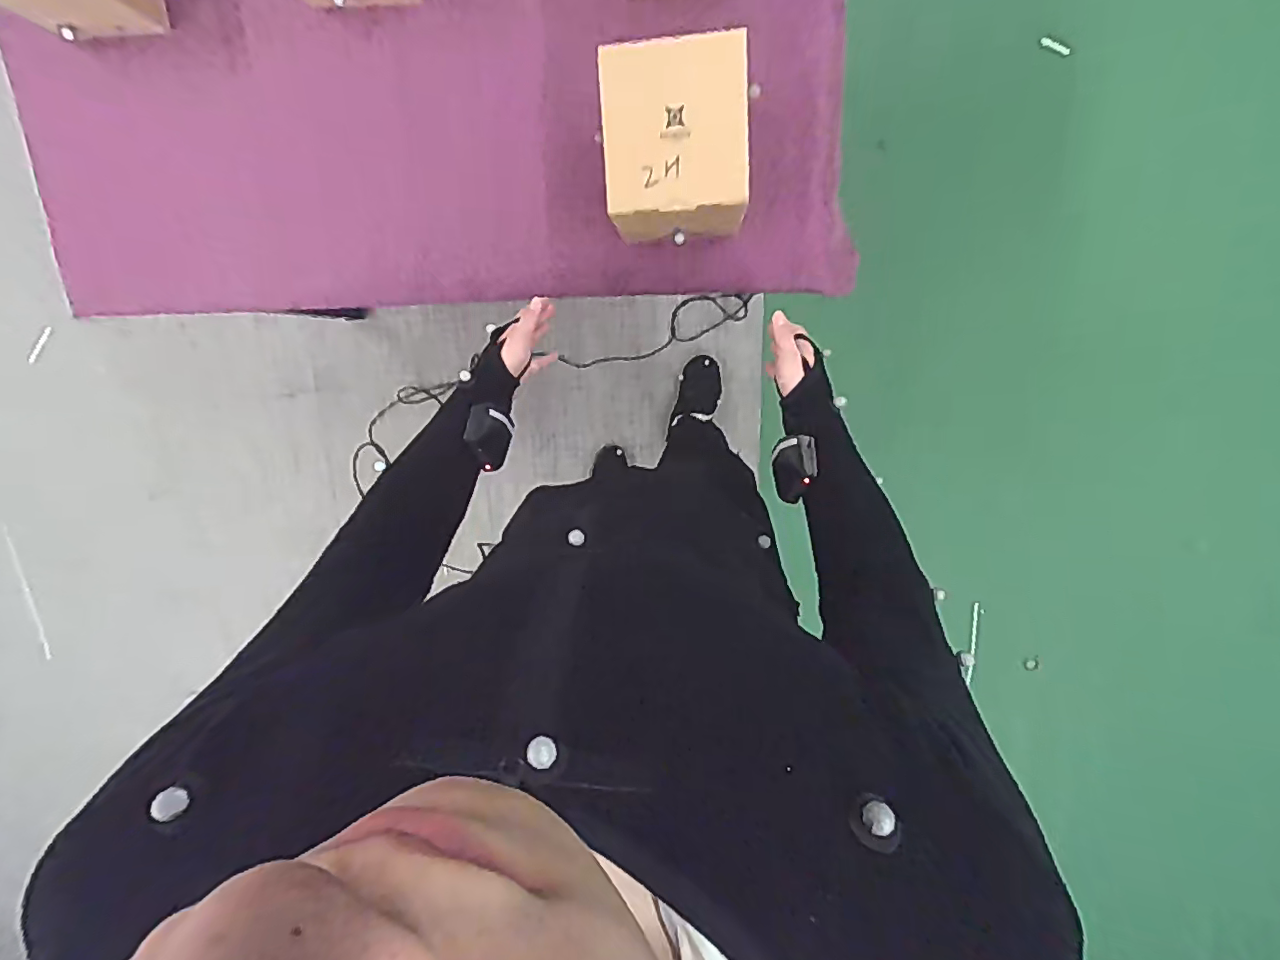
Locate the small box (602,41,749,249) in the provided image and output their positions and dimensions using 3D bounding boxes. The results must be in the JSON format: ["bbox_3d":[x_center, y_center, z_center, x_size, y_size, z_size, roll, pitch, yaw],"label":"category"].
[{"bbox_3d":[0.047,-0.409,0.690,0.168,0.176,0.179,-1,102,6],"label":"small box"}]

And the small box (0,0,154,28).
[{"bbox_3d":[-0.763,-0.699,0.670,0.168,0.176,0.179,0,105,3],"label":"small box"}]

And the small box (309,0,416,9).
[{"bbox_3d":[-0.386,-0.716,0.646,0.168,0.176,0.179,2,105,4],"label":"small box"}]
